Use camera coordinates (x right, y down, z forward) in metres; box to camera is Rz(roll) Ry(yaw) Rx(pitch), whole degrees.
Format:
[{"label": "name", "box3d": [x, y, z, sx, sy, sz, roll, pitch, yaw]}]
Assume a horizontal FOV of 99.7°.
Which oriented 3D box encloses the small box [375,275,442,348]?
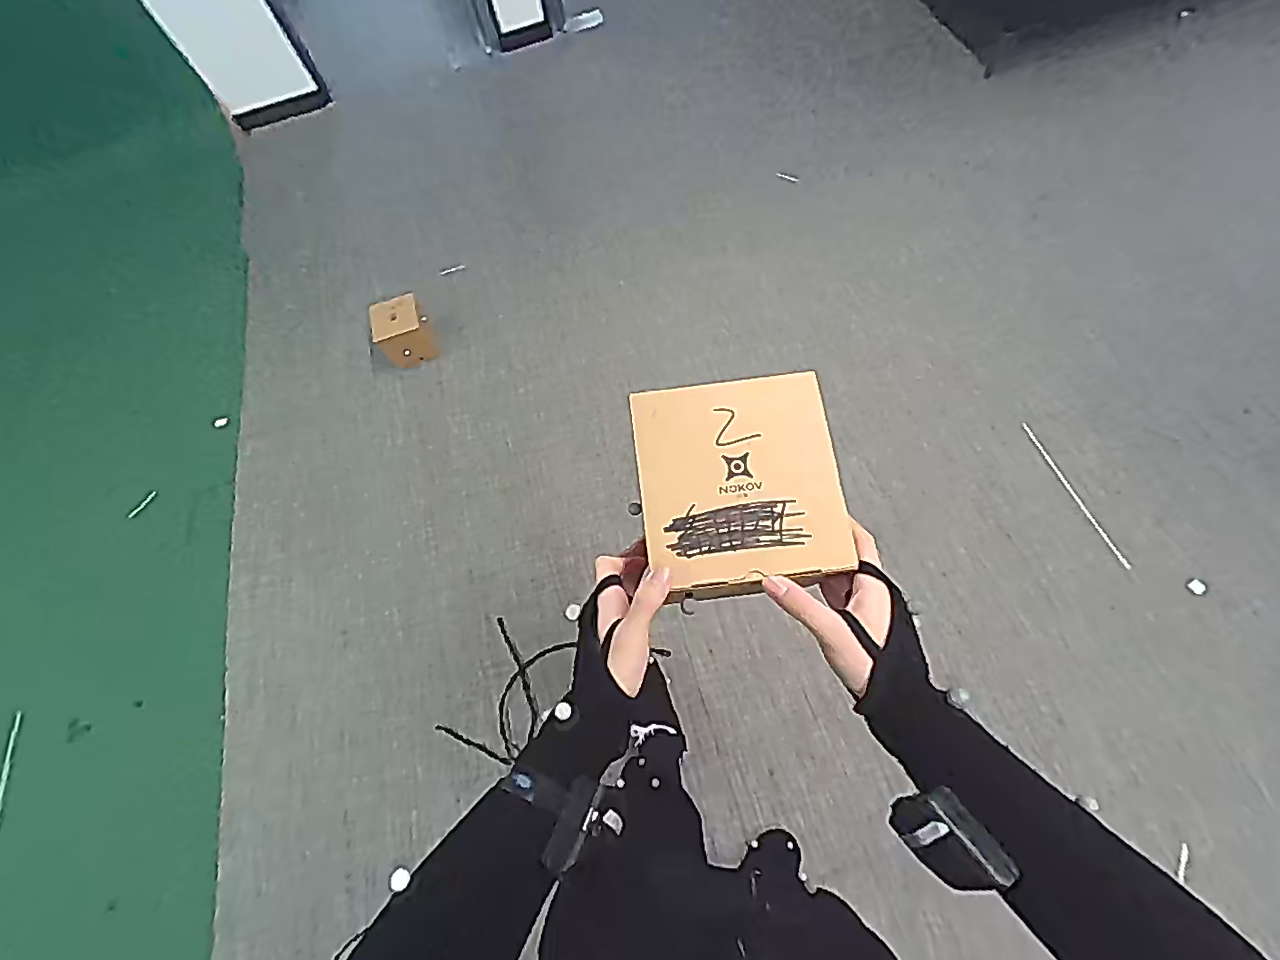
[{"label": "small box", "box3d": [-0.834, -0.601, 1.960, 0.168, 0.176, 0.179, -16, 65, -1]}]
